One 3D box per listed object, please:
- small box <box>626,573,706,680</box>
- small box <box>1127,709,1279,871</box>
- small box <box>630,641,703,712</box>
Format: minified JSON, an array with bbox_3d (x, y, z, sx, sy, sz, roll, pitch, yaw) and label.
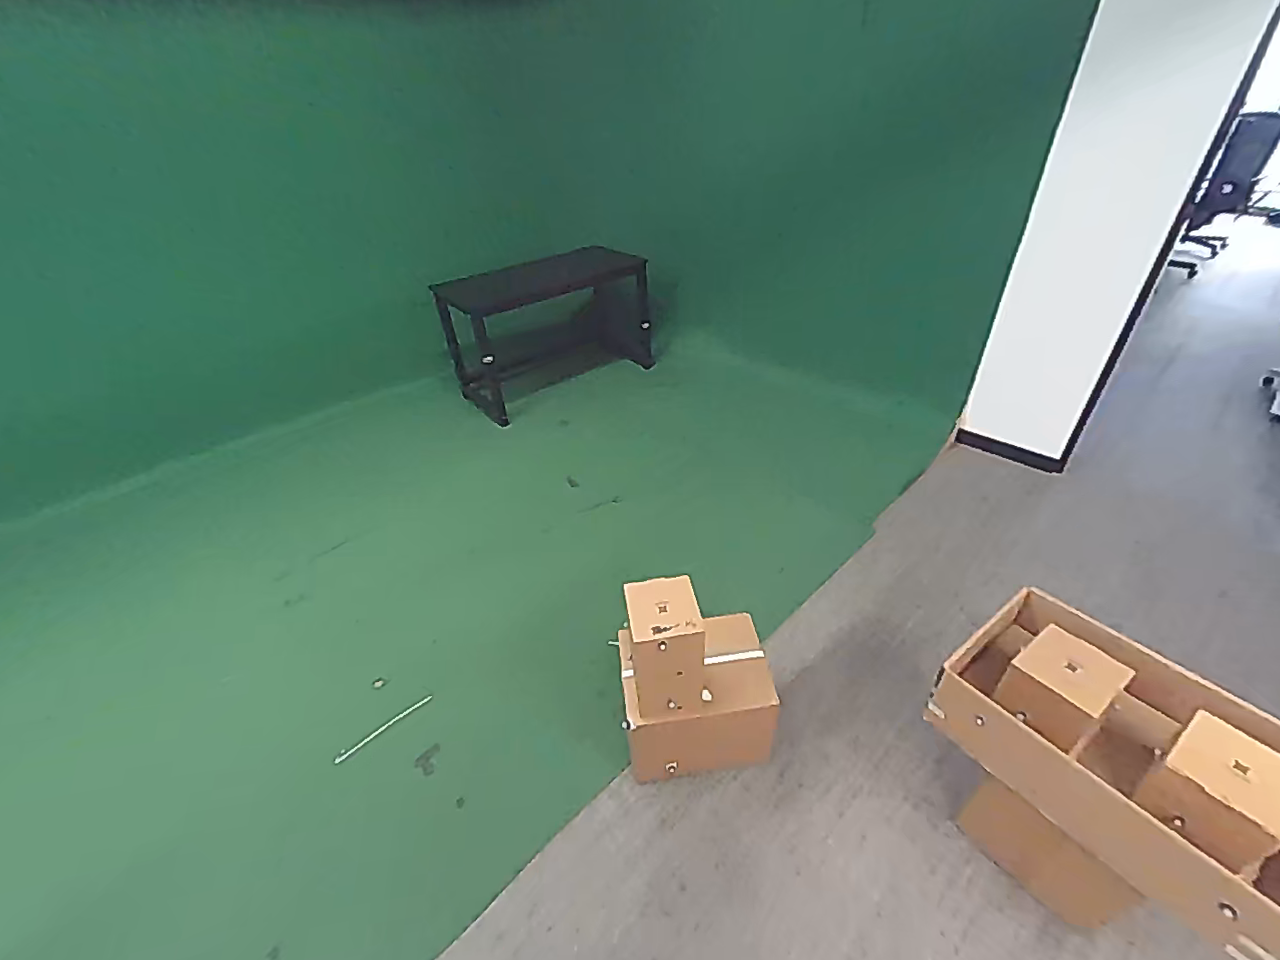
[{"bbox_3d":[0.058,0.352,1.310,0.168,0.176,0.179,-7,37,-5],"label":"small box"},{"bbox_3d":[1.076,0.581,1.018,0.179,0.176,0.168,-26,42,-25],"label":"small box"},{"bbox_3d":[0.064,0.477,1.418,0.168,0.176,0.179,-7,38,-4],"label":"small box"}]
